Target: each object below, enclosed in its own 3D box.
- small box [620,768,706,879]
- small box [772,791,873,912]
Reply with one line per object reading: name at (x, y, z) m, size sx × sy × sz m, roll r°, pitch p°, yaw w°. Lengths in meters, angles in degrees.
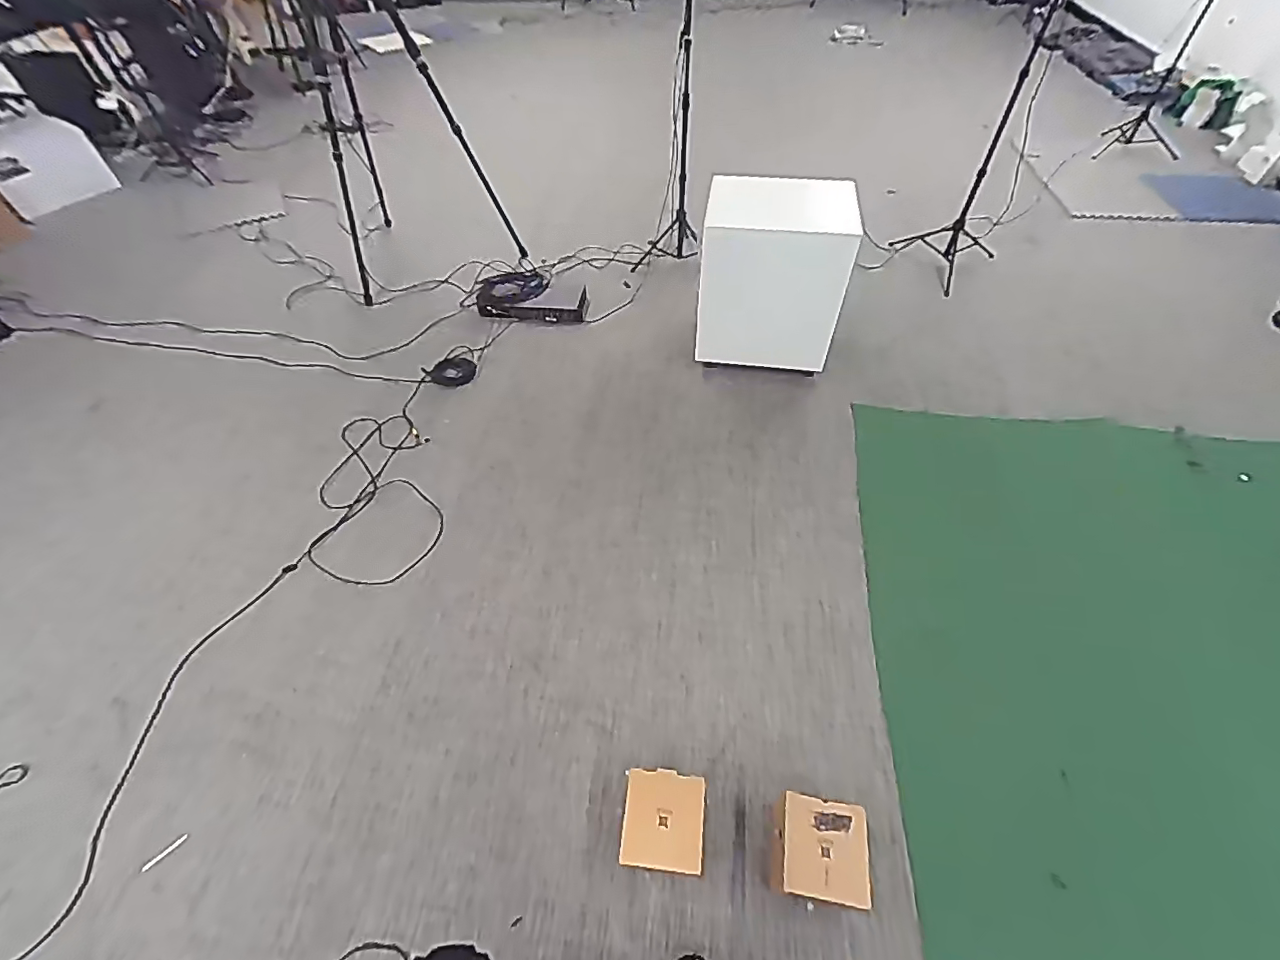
small box at (0.053, 0.749, 1.174) m, size 0.168 × 0.176 × 0.179 m, roll 4°, pitch 51°, yaw 5°
small box at (0.376, 0.781, 1.137) m, size 0.168 × 0.176 × 0.179 m, roll 7°, pitch 52°, yaw 8°
